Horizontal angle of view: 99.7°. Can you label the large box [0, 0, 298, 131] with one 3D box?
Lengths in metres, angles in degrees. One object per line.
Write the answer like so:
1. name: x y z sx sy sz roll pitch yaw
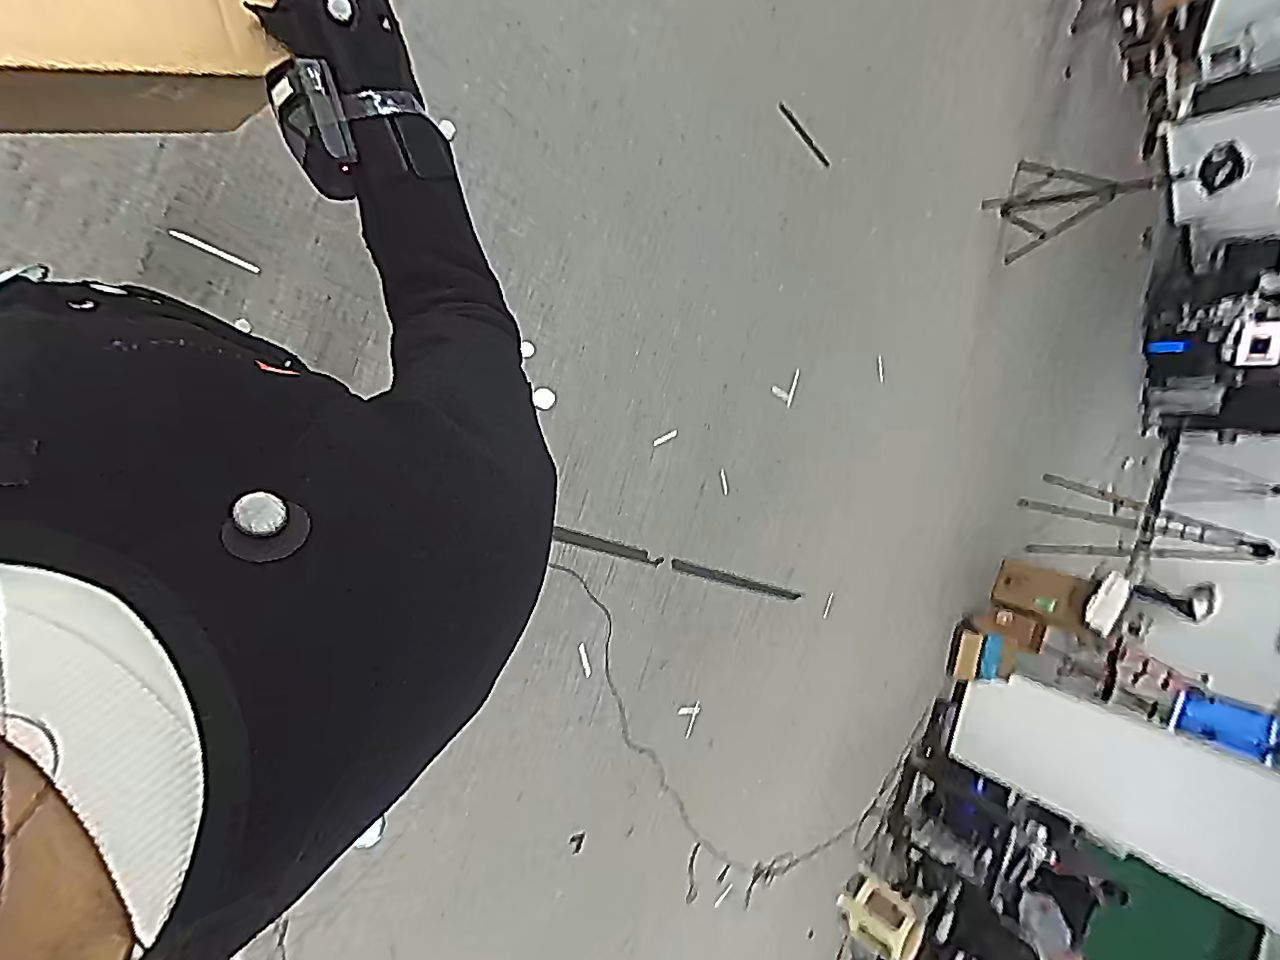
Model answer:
1. large box: -0.484 -0.377 0.279 0.408 0.320 0.320 -26 126 -34
